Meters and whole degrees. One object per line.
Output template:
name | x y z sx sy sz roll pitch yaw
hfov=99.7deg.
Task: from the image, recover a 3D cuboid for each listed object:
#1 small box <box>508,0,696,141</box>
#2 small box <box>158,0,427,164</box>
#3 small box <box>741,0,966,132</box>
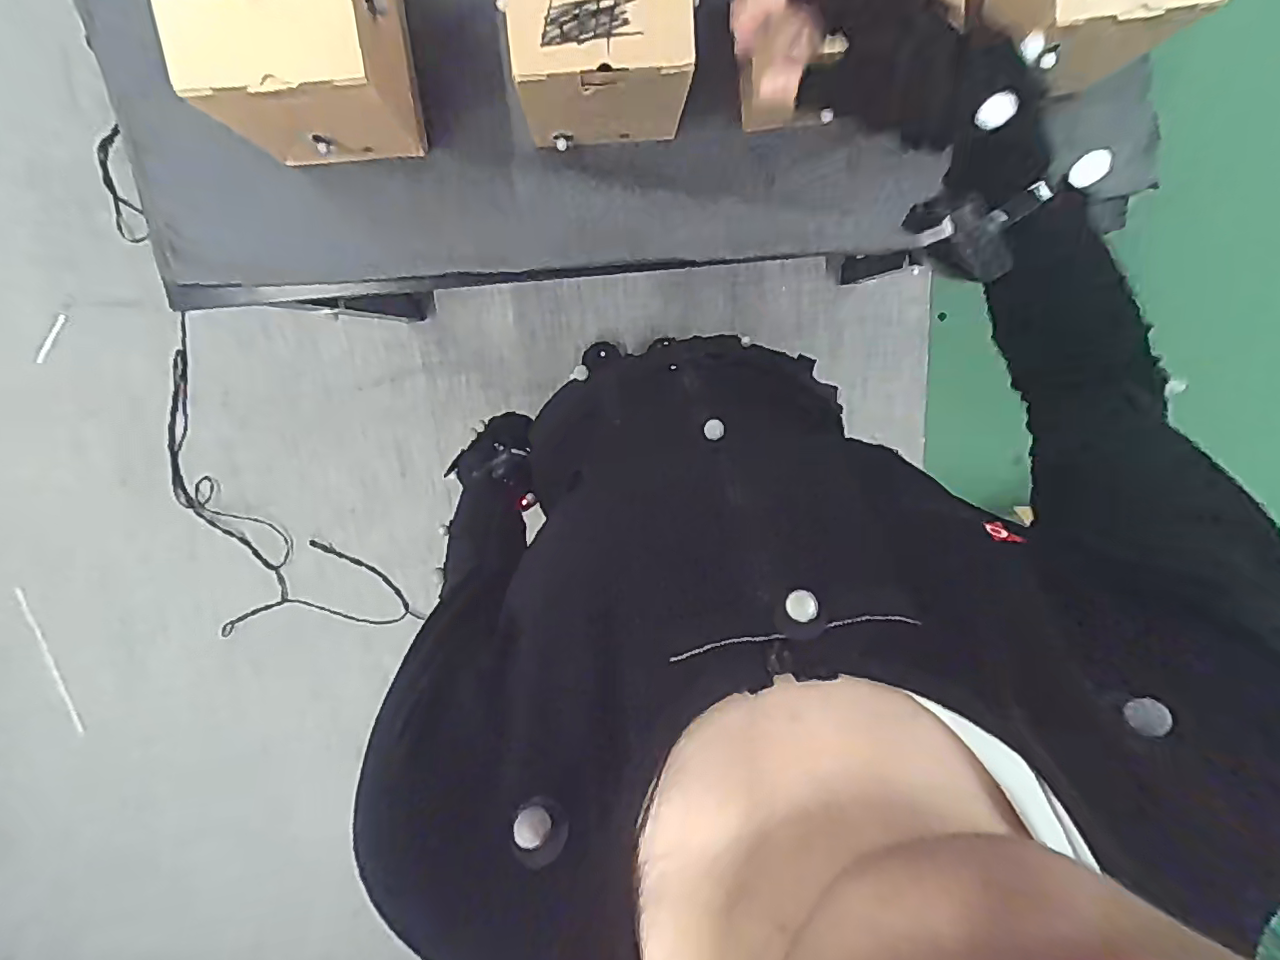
small box | -0.038 -0.462 0.541 0.168 0.176 0.179 -5 103 -3
small box | -0.326 -0.439 0.529 0.168 0.176 0.179 -6 102 -3
small box | 0.202 -0.488 0.549 0.168 0.176 0.179 -6 103 0
